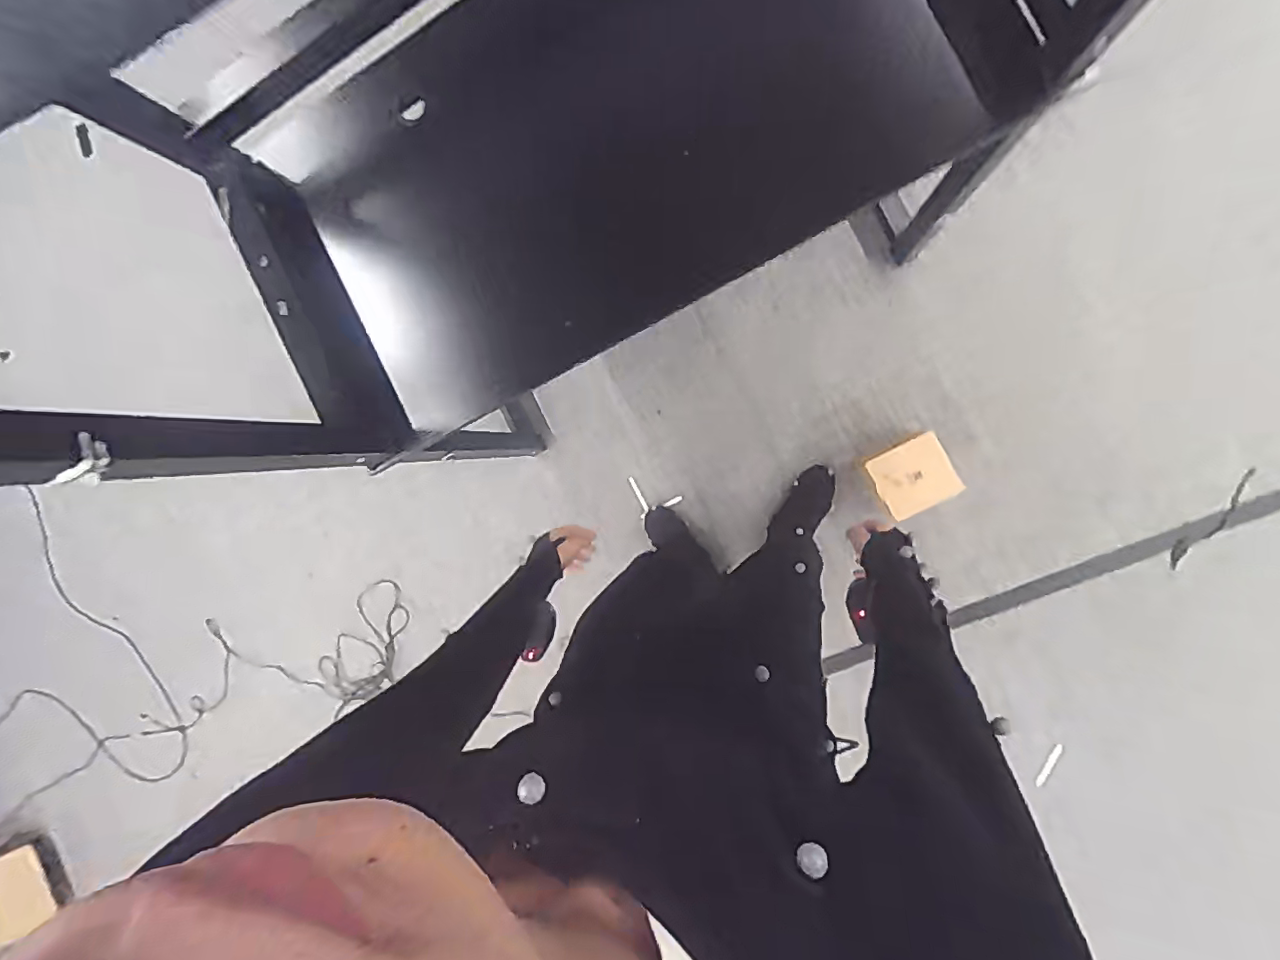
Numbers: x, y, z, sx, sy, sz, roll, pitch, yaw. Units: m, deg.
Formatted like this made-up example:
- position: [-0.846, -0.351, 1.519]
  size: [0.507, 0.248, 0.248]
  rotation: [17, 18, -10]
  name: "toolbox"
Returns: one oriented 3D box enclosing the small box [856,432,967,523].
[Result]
- position: [0.677, -0.012, 1.370]
  size: [0.179, 0.176, 0.168]
  rotation: [-28, 88, 12]
  name: "small box"
